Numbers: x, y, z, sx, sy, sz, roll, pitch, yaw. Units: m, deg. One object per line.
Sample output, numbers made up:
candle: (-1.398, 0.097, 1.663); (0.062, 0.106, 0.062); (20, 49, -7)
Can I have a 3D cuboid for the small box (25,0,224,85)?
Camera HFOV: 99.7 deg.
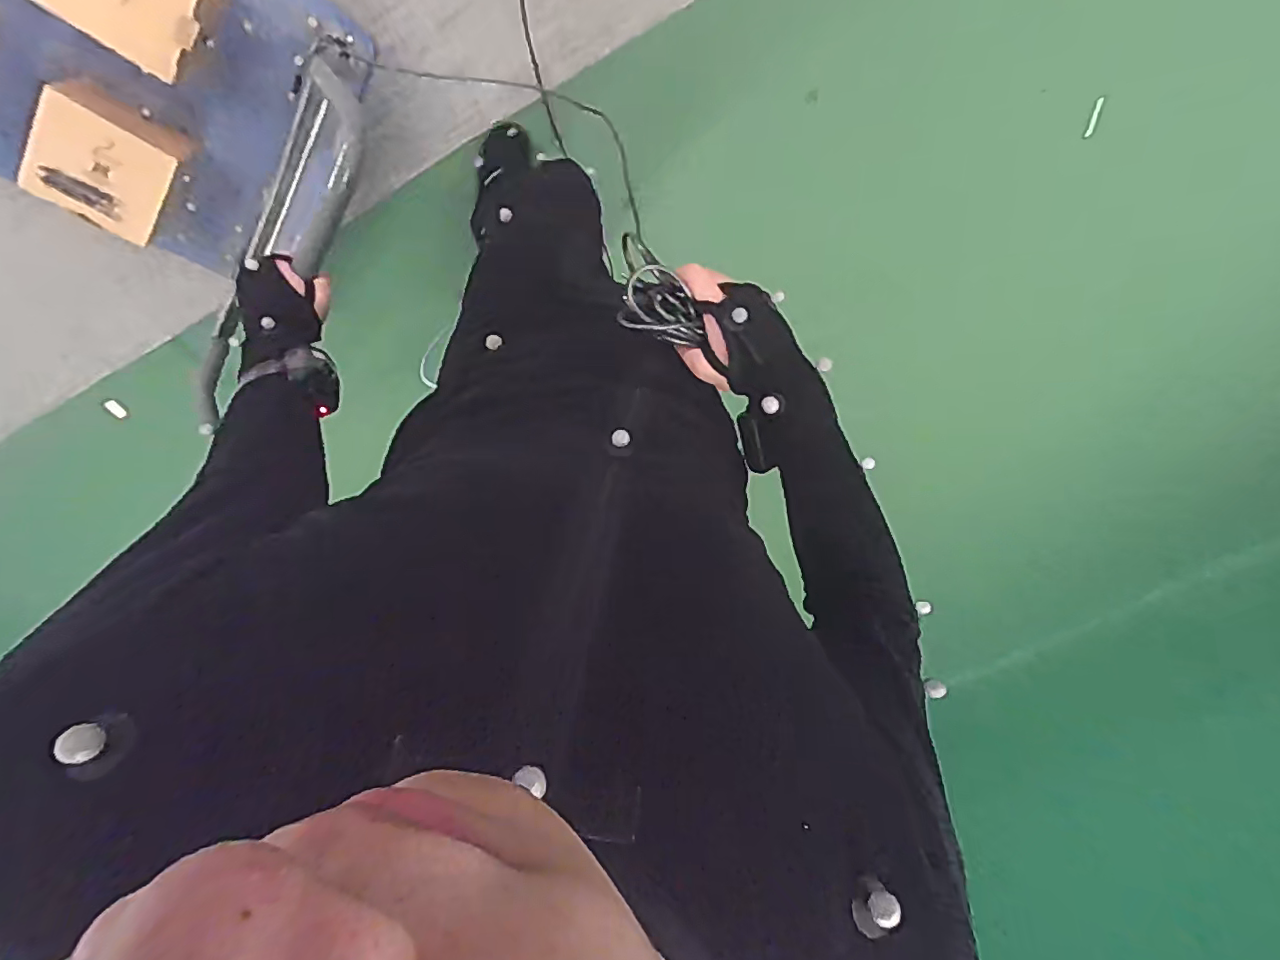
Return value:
small box: (-0.779, -0.750, 0.825); (0.179, 0.176, 0.168); (23, 117, -37)
